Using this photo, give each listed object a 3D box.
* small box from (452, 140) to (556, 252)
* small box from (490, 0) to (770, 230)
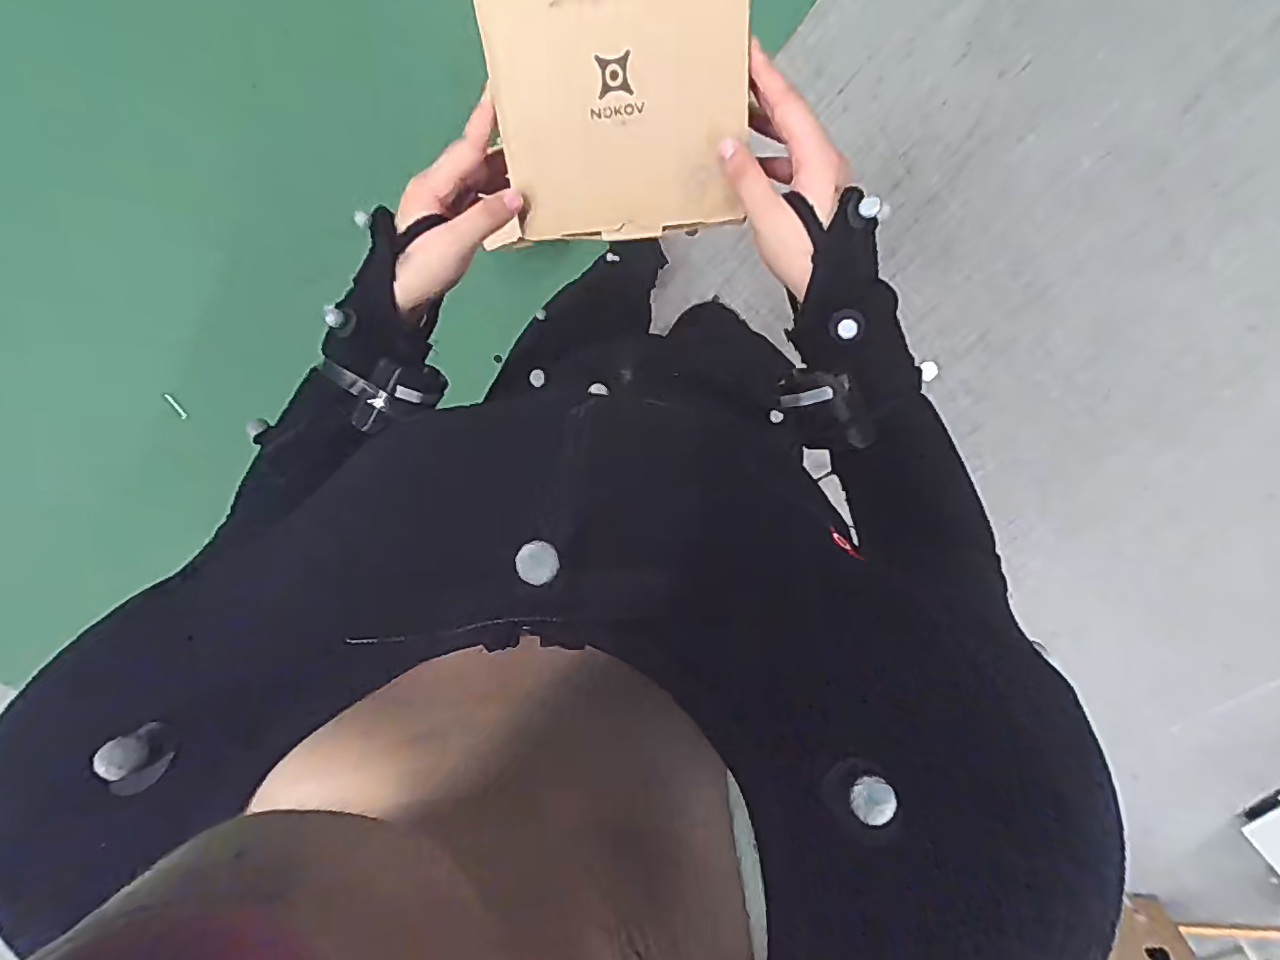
[{"bbox_3d":[-0.267,-0.608,1.153,0.168,0.176,0.179,-11,118,10],"label":"small box"},{"bbox_3d":[0.007,-0.295,0.393,0.168,0.176,0.179,-1,122,10],"label":"small box"}]
